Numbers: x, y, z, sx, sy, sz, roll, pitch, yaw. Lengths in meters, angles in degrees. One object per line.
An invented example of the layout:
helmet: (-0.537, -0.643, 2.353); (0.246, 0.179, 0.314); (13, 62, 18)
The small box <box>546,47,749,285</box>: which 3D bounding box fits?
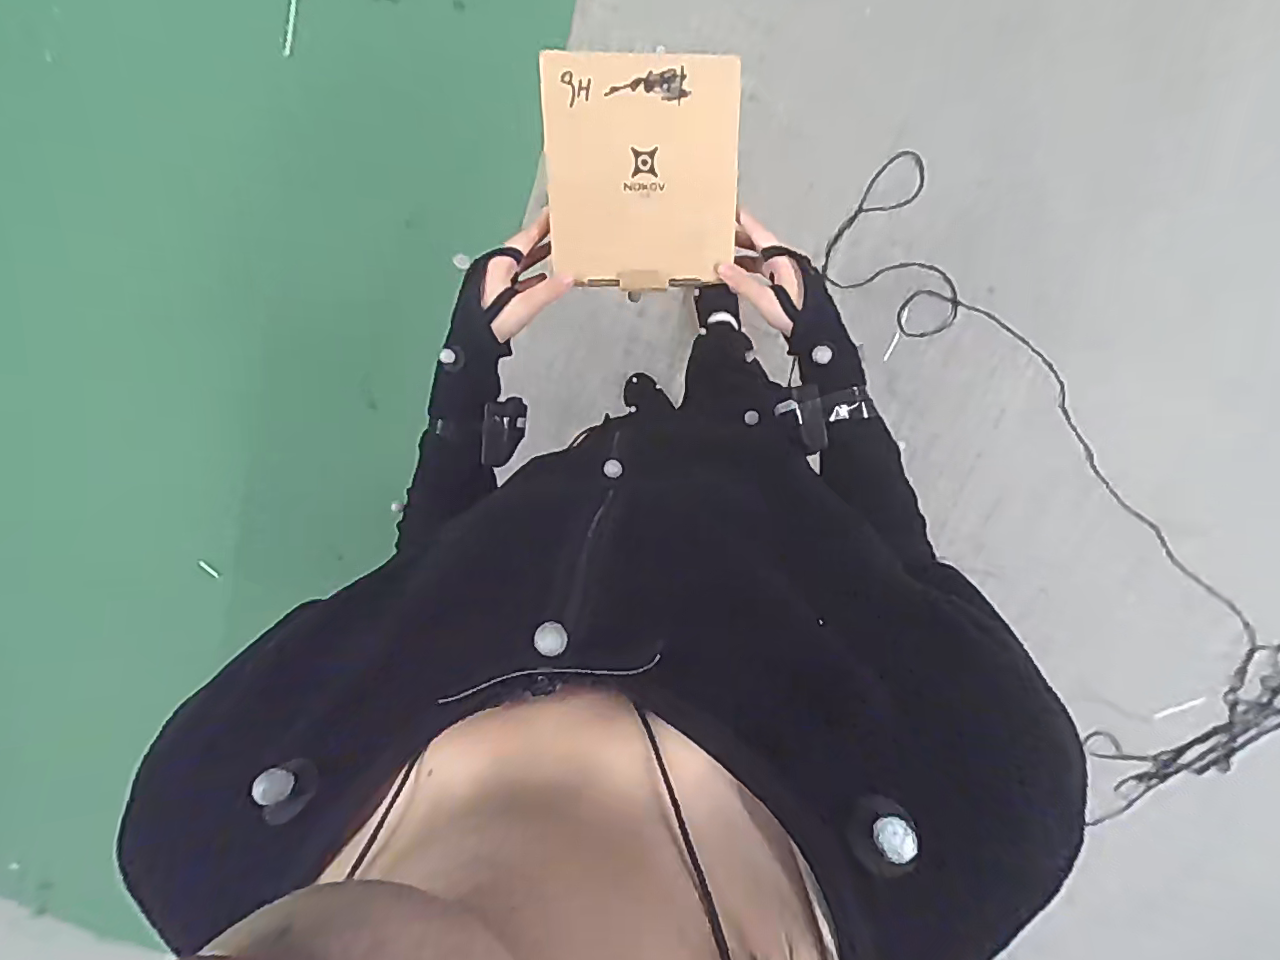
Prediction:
small box: (0.000, -0.287, 0.533); (0.168, 0.176, 0.179); (-2, 109, -5)
